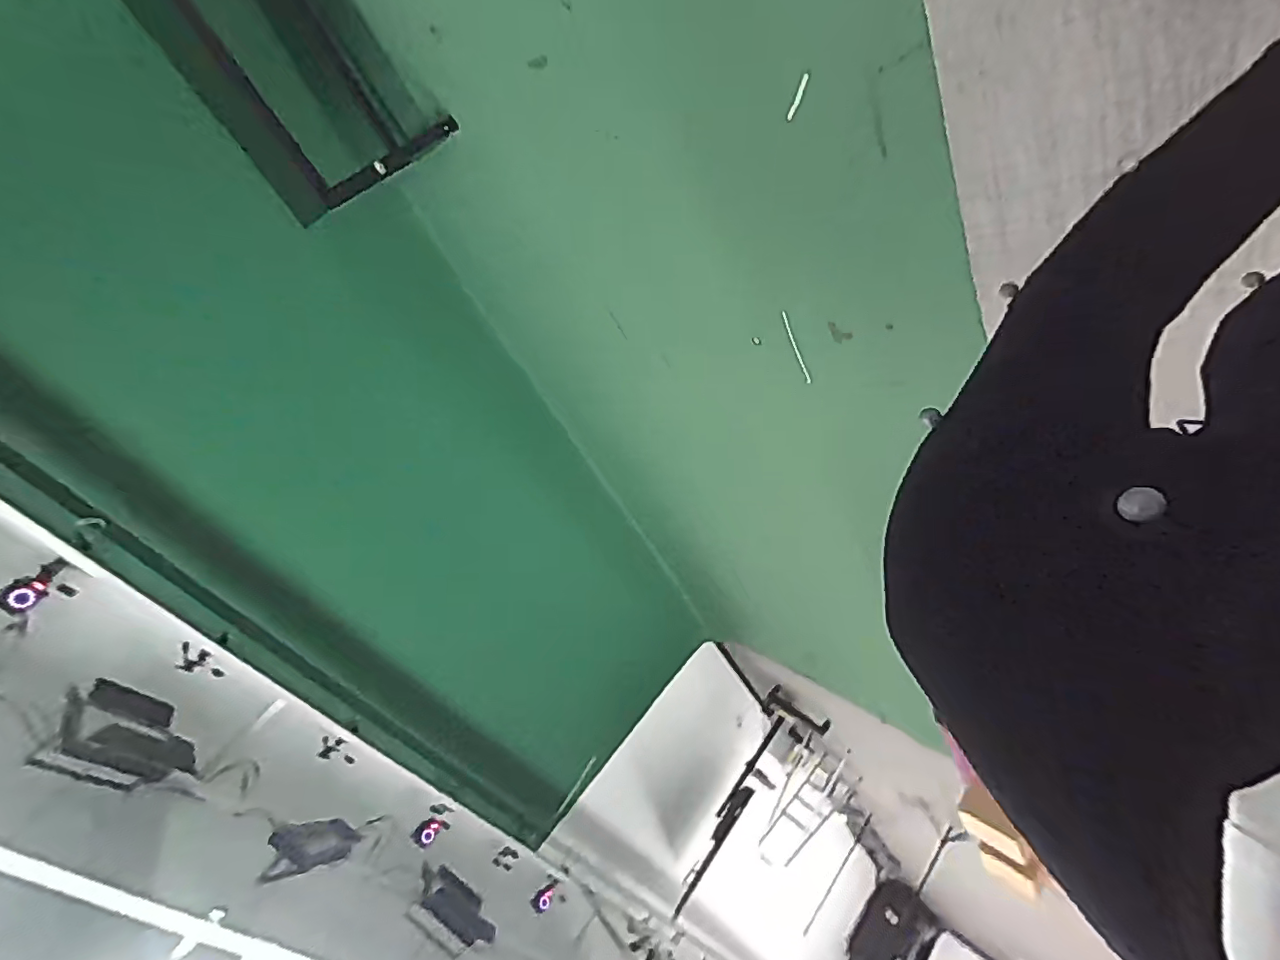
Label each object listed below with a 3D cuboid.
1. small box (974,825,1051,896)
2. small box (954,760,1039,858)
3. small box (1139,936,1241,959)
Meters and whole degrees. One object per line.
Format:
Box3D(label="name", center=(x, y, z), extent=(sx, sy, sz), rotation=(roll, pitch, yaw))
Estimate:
Box3D(label="small box", center=(1.267, 1.247, 1.836), extent=(0.168, 0.176, 0.179), rotation=(15, 142, 52))
Box3D(label="small box", center=(1.113, 1.017, 1.682), extent=(0.168, 0.176, 0.179), rotation=(12, 143, 52))
Box3D(label="small box", center=(1.520, 1.306, 1.497), extent=(0.168, 0.176, 0.179), rotation=(18, 147, 51))
